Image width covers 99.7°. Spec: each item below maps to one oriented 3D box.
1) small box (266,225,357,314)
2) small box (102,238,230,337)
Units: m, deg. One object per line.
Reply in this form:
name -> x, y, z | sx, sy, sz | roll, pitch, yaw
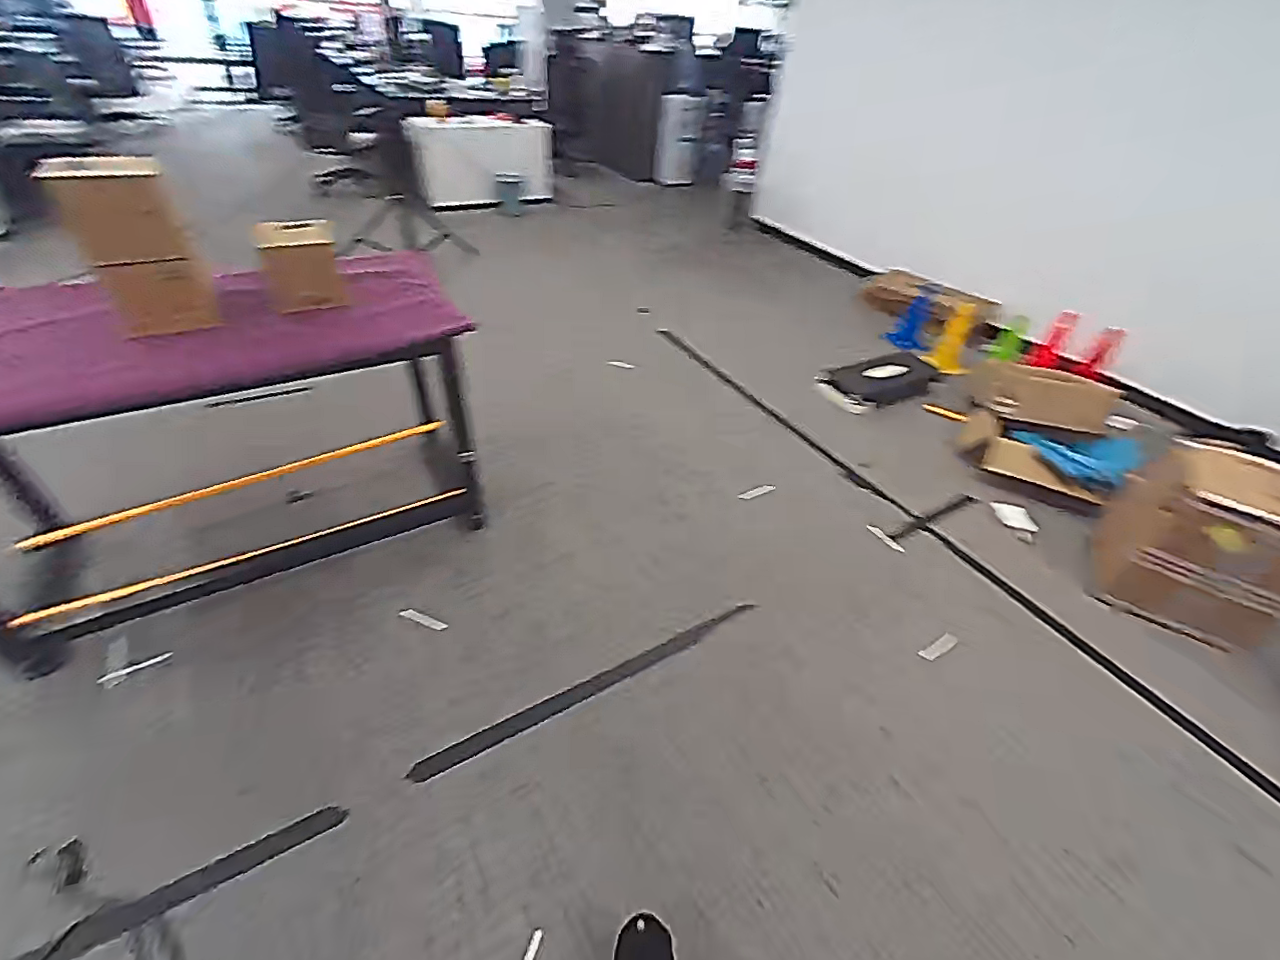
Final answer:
small box -> -0.860, -0.555, 1.421 | 0.168, 0.176, 0.179 | -16, 46, -23
small box -> -1.105, -0.453, 1.275 | 0.179, 0.176, 0.168 | -18, 46, -26
